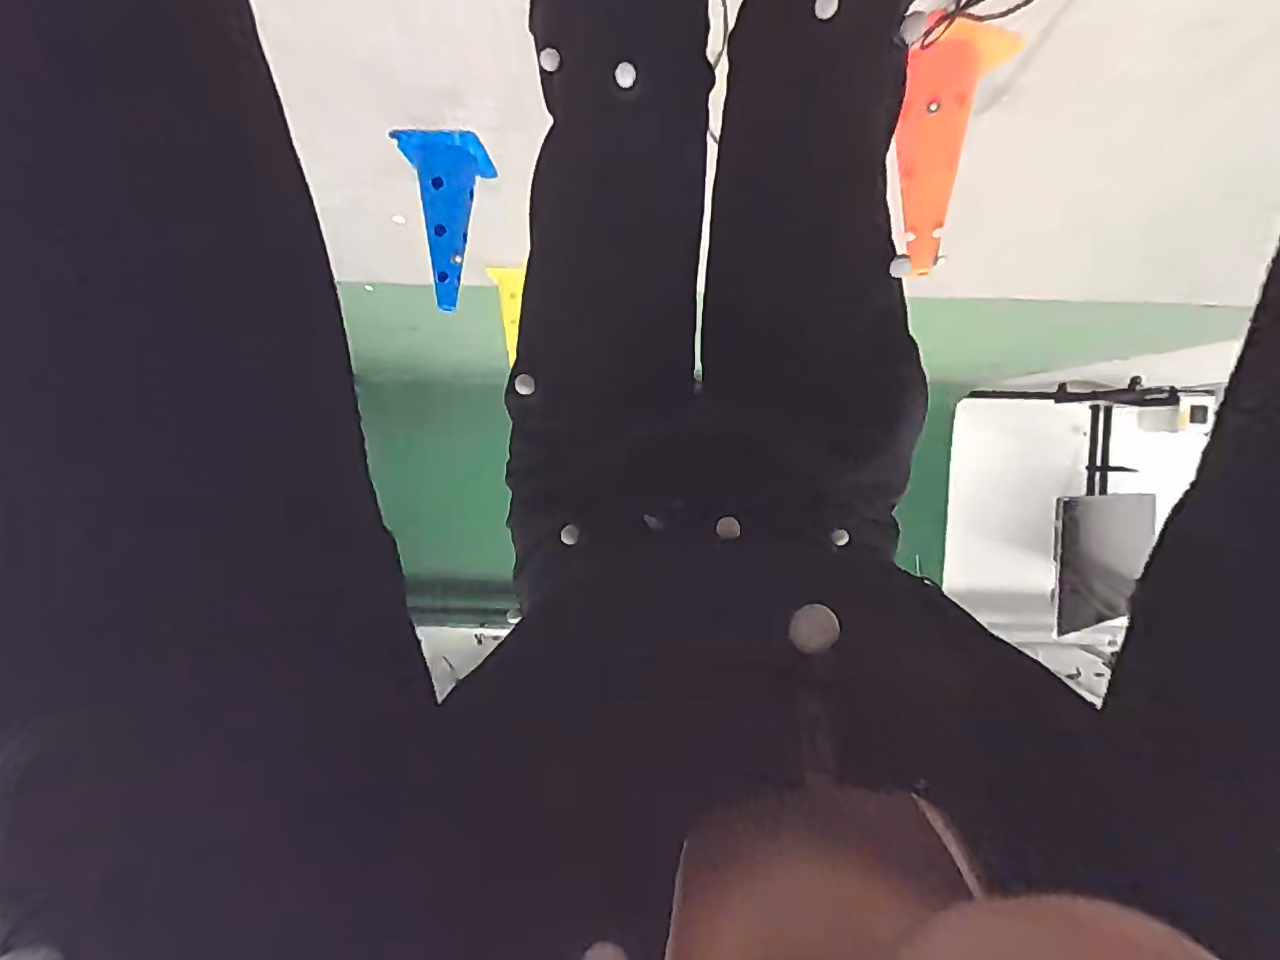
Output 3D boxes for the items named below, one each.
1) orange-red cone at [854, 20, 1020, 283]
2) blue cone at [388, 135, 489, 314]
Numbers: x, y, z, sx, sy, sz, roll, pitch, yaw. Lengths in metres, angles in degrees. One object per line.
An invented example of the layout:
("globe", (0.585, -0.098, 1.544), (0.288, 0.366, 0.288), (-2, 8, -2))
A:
("orange-red cone", (0.499, -0.528, 0.936), (0.199, 0.360, 0.198), (-1, -176, -20))
("blue cone", (-0.470, -0.586, 1.277), (0.192, 0.380, 0.193), (2, -178, 0))
